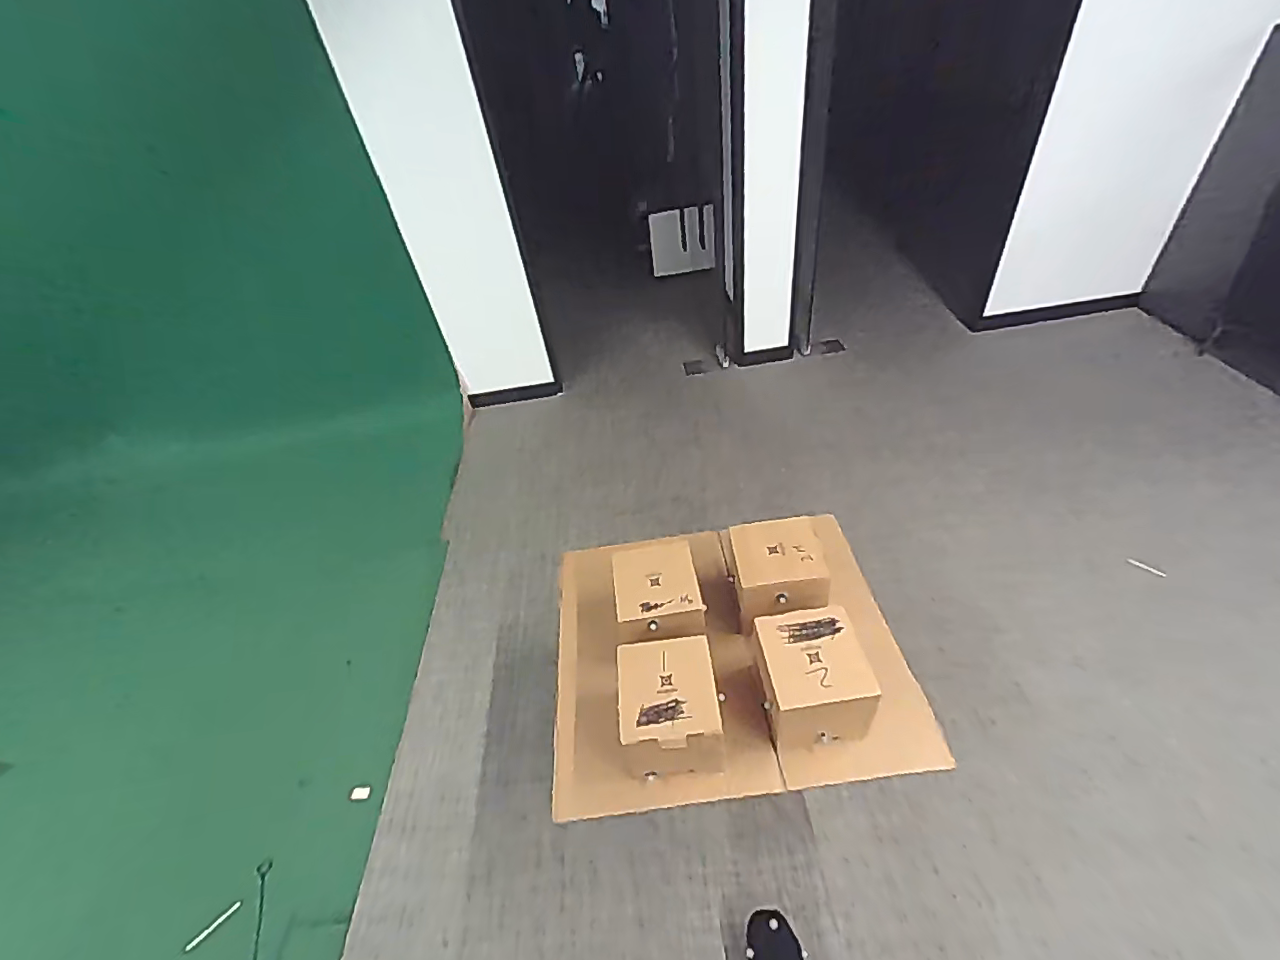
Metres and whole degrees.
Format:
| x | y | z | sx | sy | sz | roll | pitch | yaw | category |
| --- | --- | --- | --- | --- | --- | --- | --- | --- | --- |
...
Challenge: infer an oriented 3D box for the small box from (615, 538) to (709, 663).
| x | y | z | sx | sy | sz | roll | pitch | yaw | category |
| --- | --- | --- | --- | --- | --- | --- | --- | --- | --- |
| 0.046 | 0.252 | 1.130 | 0.168 | 0.176 | 0.179 | -11 | 41 | 2 | small box |
